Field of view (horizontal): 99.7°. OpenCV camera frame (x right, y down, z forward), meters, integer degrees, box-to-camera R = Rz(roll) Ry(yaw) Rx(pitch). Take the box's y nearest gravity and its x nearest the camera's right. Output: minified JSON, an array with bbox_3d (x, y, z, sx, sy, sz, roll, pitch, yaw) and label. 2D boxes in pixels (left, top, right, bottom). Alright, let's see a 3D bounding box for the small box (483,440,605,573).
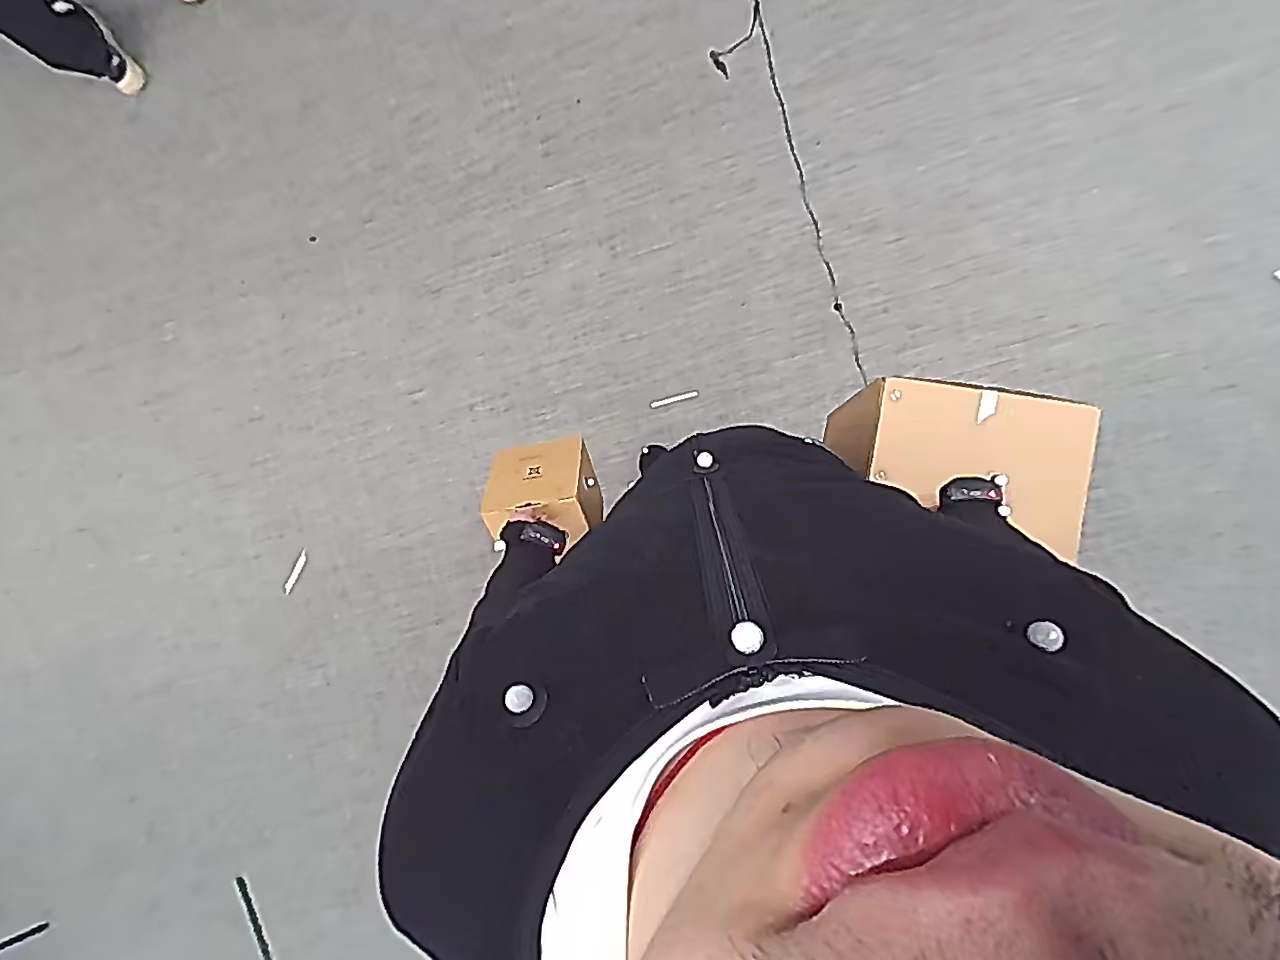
[{"bbox_3d":[-0.164,0.054,0.991,0.168,0.179,0.176,-9,129,6],"label":"small box"}]
